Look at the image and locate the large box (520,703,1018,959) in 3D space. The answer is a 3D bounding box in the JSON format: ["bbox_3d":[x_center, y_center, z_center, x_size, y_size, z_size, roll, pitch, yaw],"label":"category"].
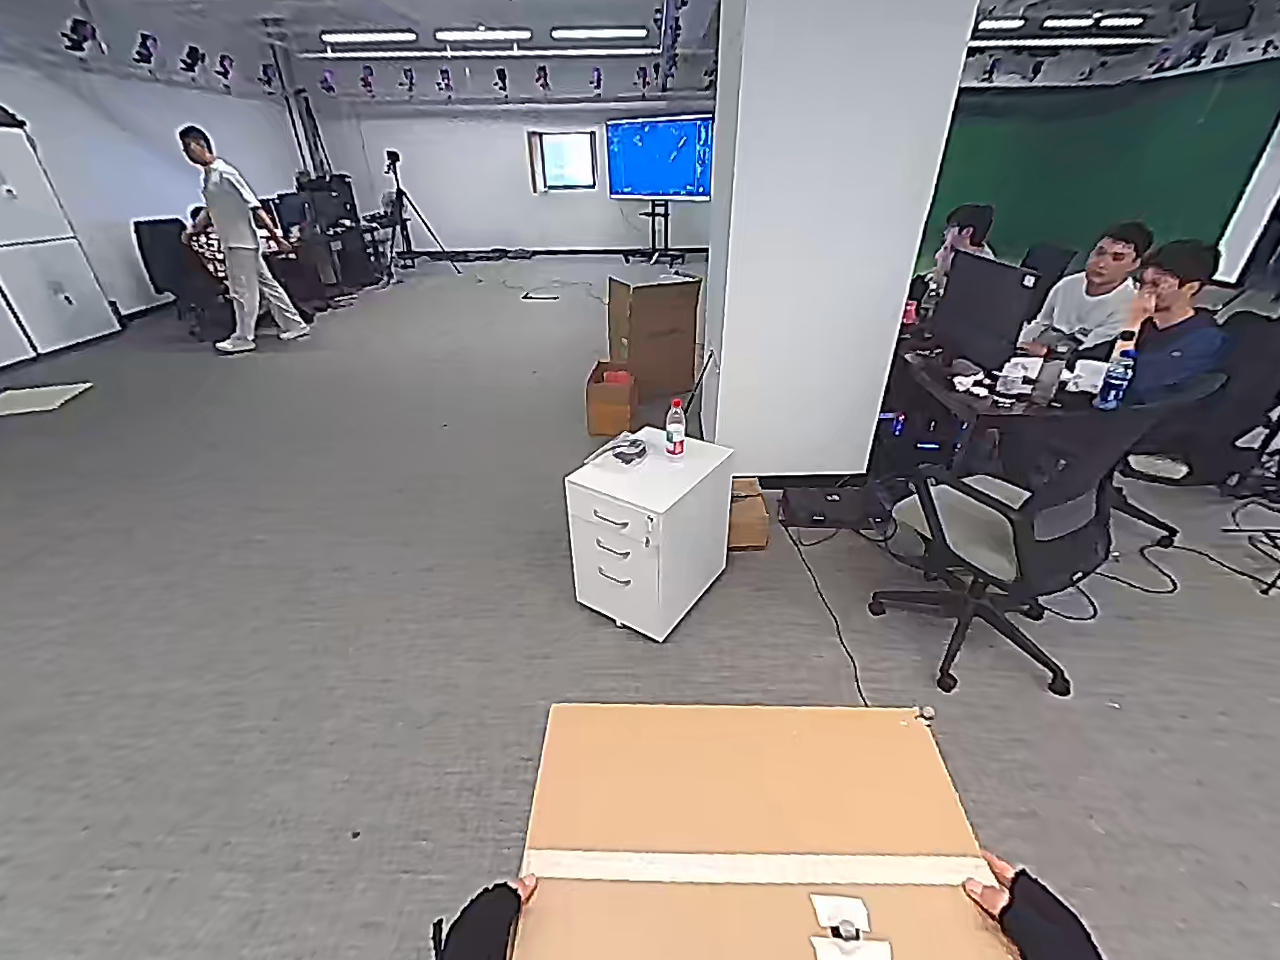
[{"bbox_3d":[0.104,0.464,0.570,0.408,0.320,0.320,0,36,2],"label":"large box"}]
